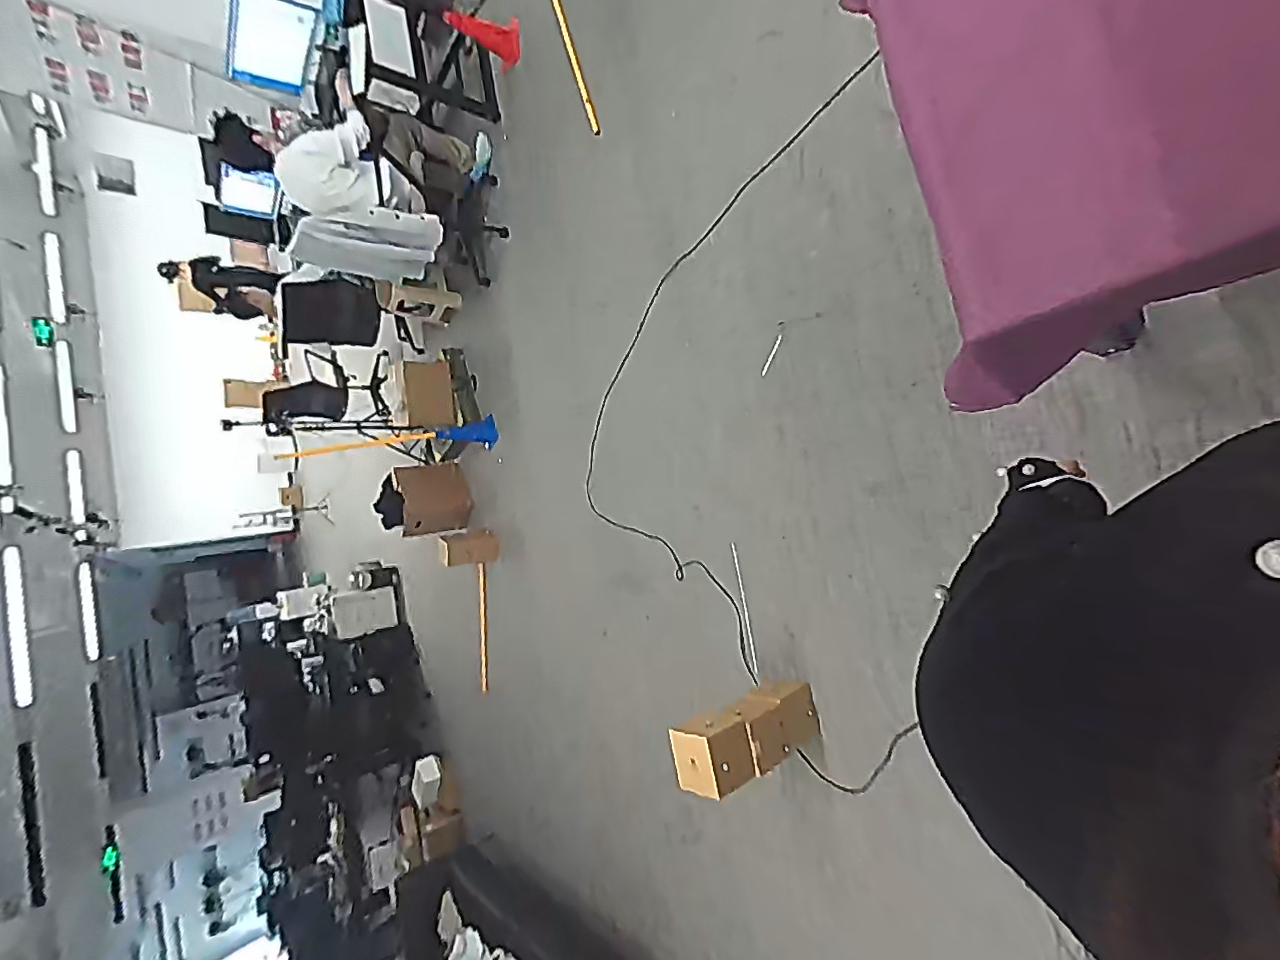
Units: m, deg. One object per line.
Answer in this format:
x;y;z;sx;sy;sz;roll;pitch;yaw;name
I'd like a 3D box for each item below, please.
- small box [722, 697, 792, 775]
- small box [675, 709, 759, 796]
0.368;0.813;1.737;0.179;0.176;0.168;-19;79;51;small box
0.236;0.815;1.640;0.168;0.176;0.179;-18;81;50;small box
